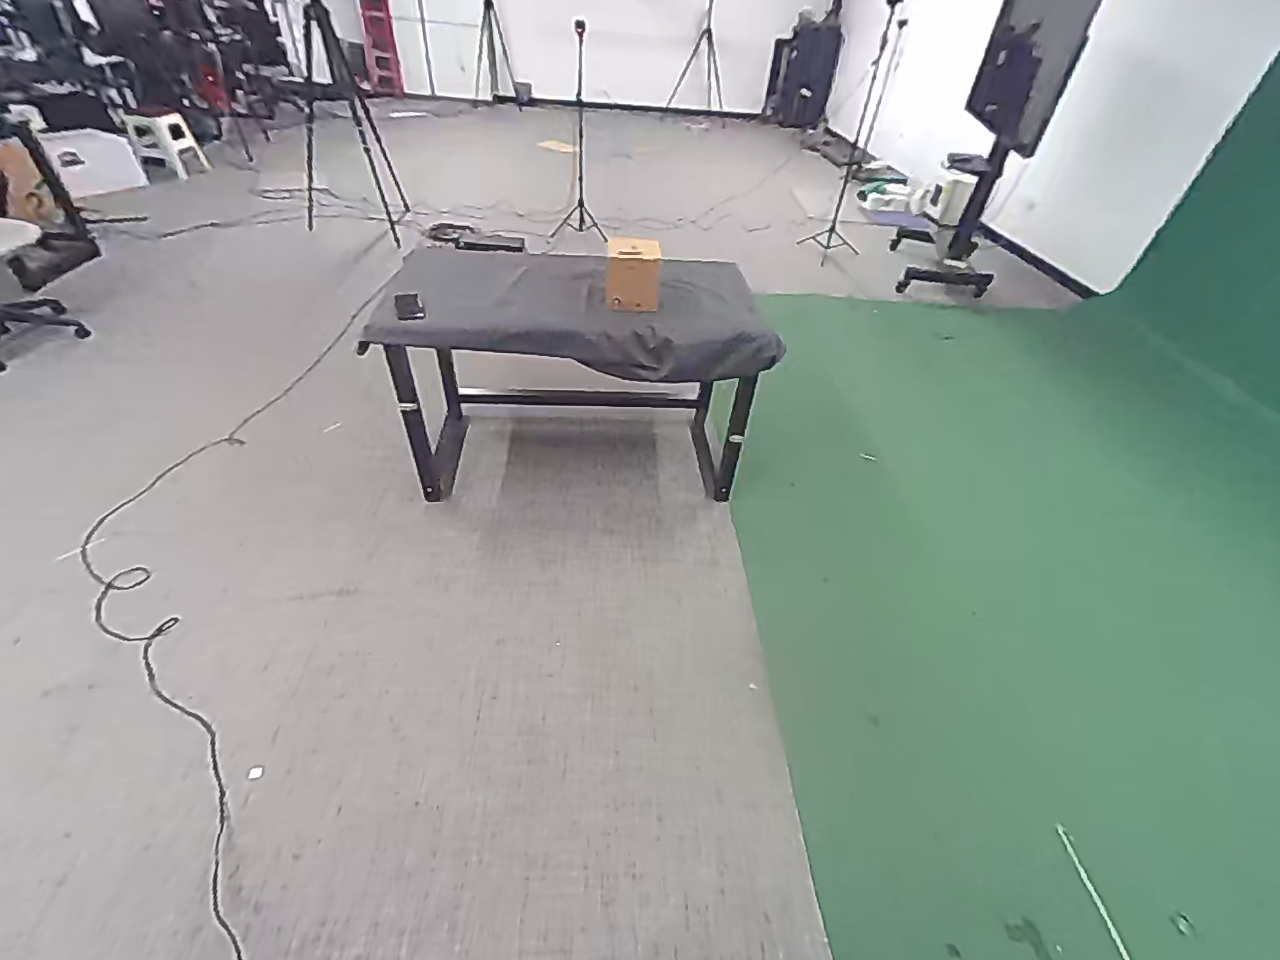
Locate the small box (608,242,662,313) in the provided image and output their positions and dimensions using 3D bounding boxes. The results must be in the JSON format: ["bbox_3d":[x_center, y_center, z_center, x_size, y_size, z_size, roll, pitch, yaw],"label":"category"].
[{"bbox_3d":[-0.018,-0.655,1.751,0.168,0.176,0.179,2,41,-4],"label":"small box"}]
